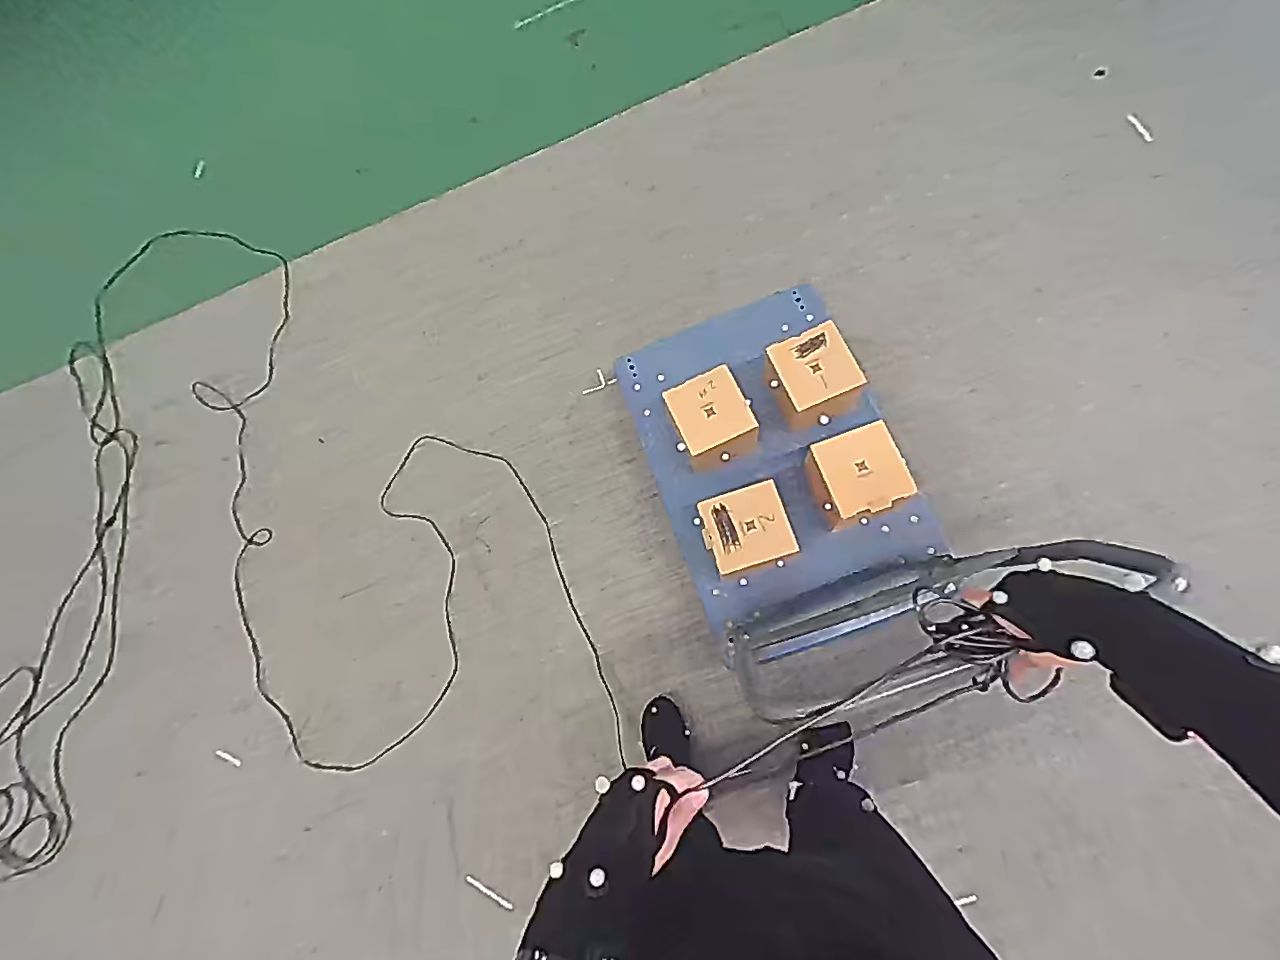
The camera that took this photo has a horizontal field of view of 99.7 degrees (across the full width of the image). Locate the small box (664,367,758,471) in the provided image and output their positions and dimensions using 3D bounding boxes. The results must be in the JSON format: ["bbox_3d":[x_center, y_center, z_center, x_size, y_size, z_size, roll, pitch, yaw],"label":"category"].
[{"bbox_3d":[0.172,-0.135,1.303,0.168,0.176,0.179,-24,73,2],"label":"small box"}]

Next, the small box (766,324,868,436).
[{"bbox_3d":[0.409,-0.231,1.286,0.168,0.176,0.179,-23,74,4],"label":"small box"}]

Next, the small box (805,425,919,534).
[{"bbox_3d":[0.484,0.005,1.214,0.168,0.176,0.179,-20,73,5],"label":"small box"}]
